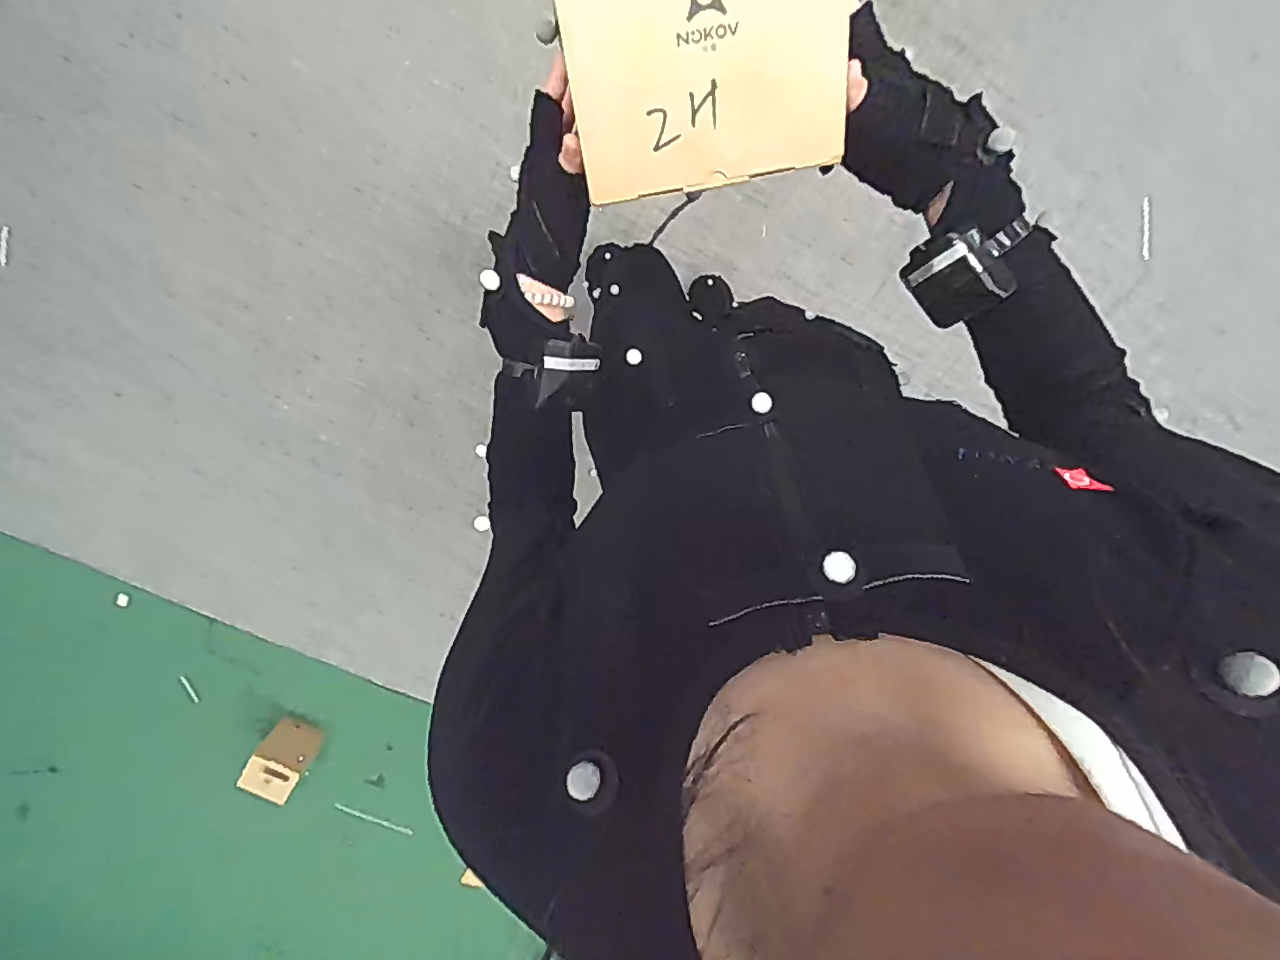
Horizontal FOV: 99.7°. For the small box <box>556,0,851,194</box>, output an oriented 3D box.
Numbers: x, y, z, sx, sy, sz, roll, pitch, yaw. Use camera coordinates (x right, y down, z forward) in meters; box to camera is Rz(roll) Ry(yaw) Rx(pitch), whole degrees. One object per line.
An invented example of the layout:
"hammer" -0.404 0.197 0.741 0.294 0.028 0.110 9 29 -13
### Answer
"small box" 0.030 -0.306 0.365 0.168 0.176 0.179 -8 122 2
